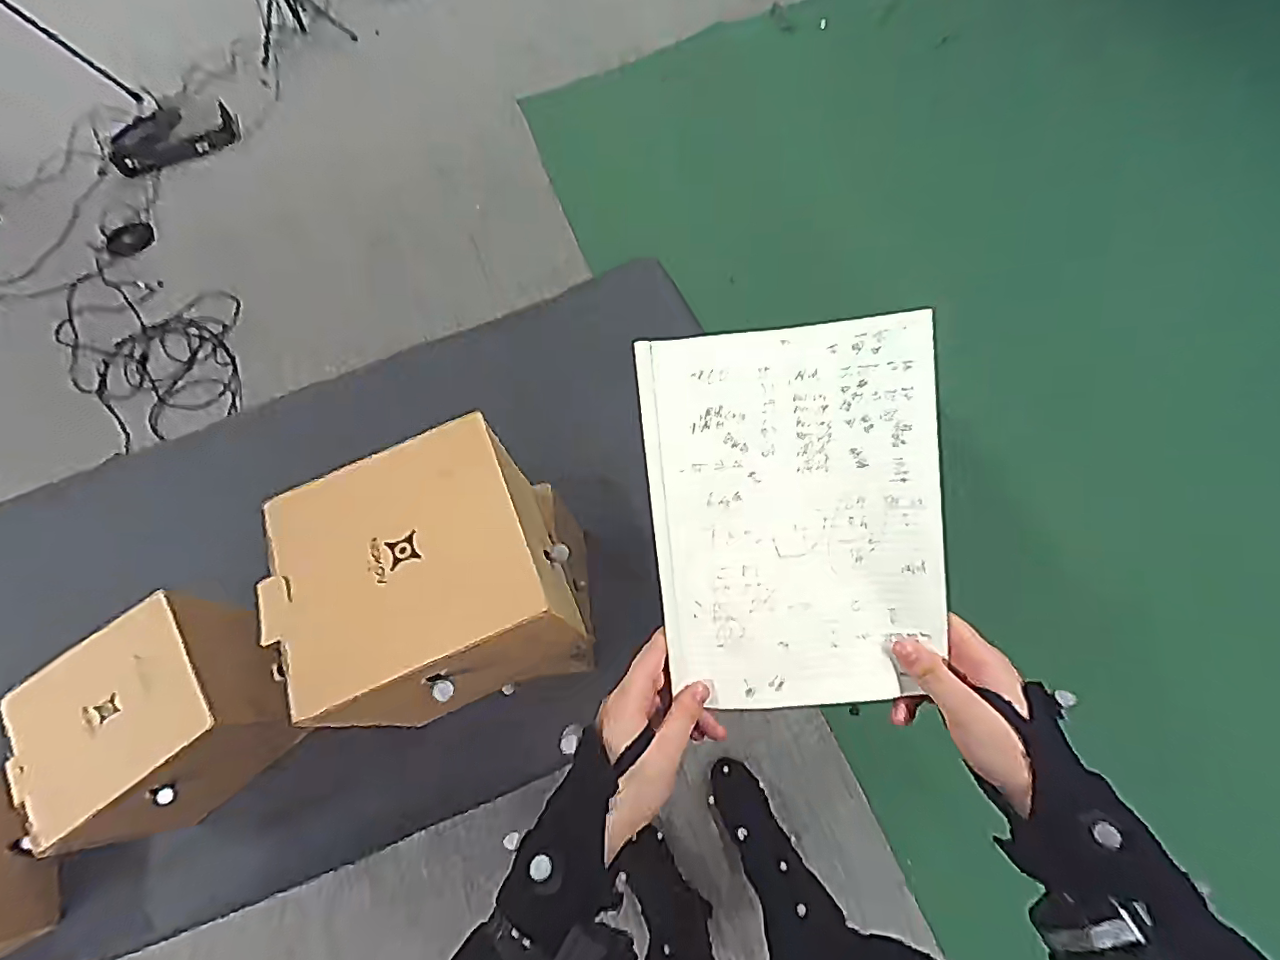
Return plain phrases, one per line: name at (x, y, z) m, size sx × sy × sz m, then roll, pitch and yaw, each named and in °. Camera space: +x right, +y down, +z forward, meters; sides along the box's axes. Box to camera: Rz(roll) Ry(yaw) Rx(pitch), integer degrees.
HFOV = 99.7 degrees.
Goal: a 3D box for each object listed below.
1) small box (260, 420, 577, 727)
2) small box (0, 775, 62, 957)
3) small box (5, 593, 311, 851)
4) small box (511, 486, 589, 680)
small box at (-0.163, 0.084, 0.449) m, size 0.179 × 0.176 × 0.168 m, roll -25°, pitch 66°, yaw -3°
small box at (-0.755, 0.424, 0.550) m, size 0.168 × 0.176 × 0.179 m, roll -28°, pitch 67°, yaw -6°
small box at (-0.506, 0.256, 0.595) m, size 0.179 × 0.176 × 0.168 m, roll -38°, pitch 69°, yaw -10°
small box at (-0.158, 0.127, 0.607) m, size 0.168 × 0.176 × 0.179 m, roll -9°, pitch 67°, yaw 3°
